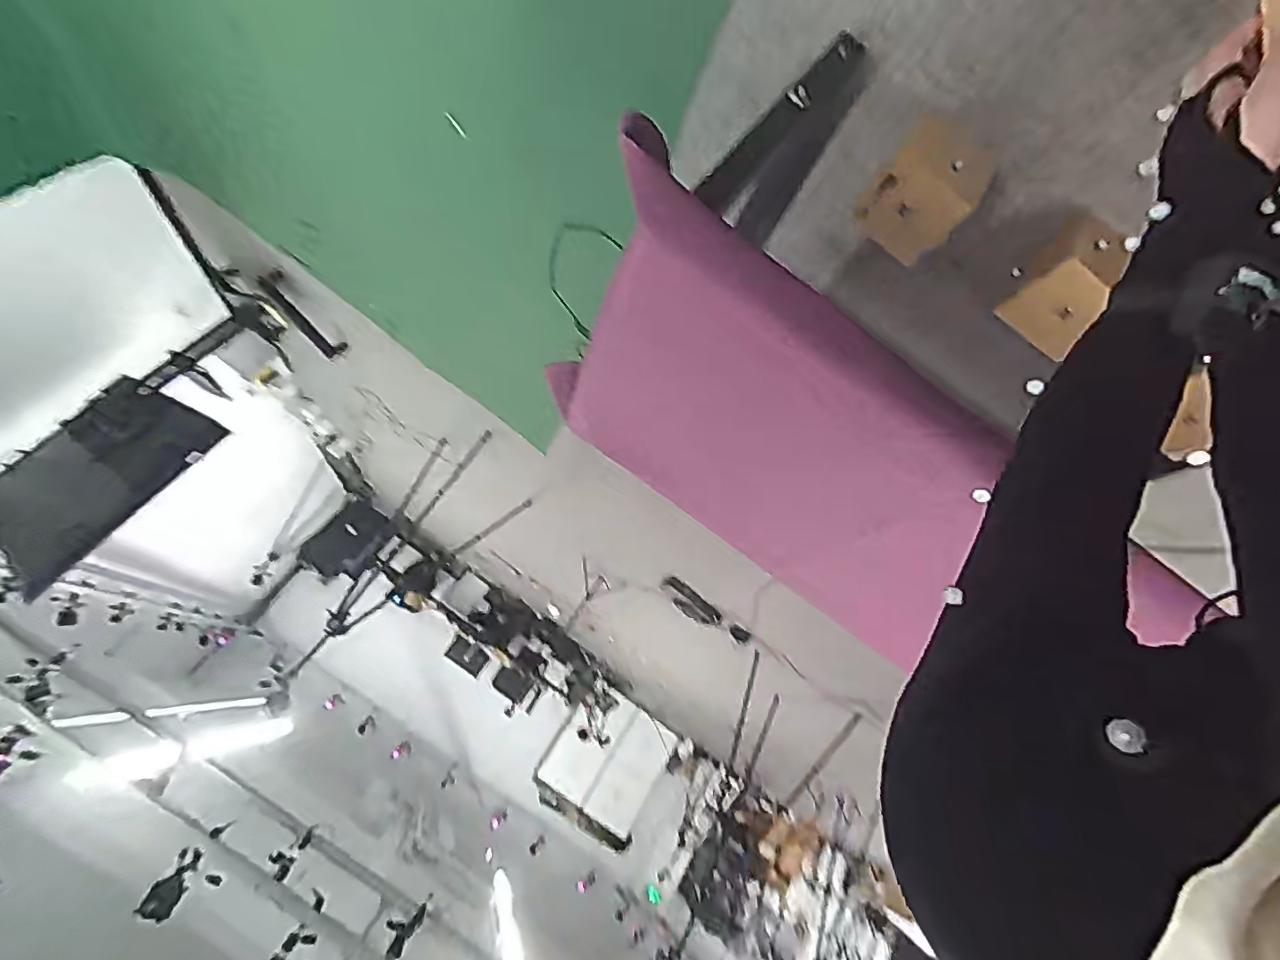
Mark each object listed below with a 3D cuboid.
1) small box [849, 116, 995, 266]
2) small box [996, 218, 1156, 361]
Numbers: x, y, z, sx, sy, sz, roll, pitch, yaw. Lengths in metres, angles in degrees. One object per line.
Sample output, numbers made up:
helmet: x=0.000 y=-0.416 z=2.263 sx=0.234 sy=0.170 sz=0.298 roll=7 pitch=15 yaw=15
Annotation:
small box: x=0.565 y=-0.579 z=1.082 sx=0.179 sy=0.176 sz=0.168 roll=38 pitch=154 yaw=-4
small box: x=0.855 y=-0.378 z=1.063 sx=0.179 sy=0.176 sz=0.168 roll=37 pitch=155 yaw=-2
